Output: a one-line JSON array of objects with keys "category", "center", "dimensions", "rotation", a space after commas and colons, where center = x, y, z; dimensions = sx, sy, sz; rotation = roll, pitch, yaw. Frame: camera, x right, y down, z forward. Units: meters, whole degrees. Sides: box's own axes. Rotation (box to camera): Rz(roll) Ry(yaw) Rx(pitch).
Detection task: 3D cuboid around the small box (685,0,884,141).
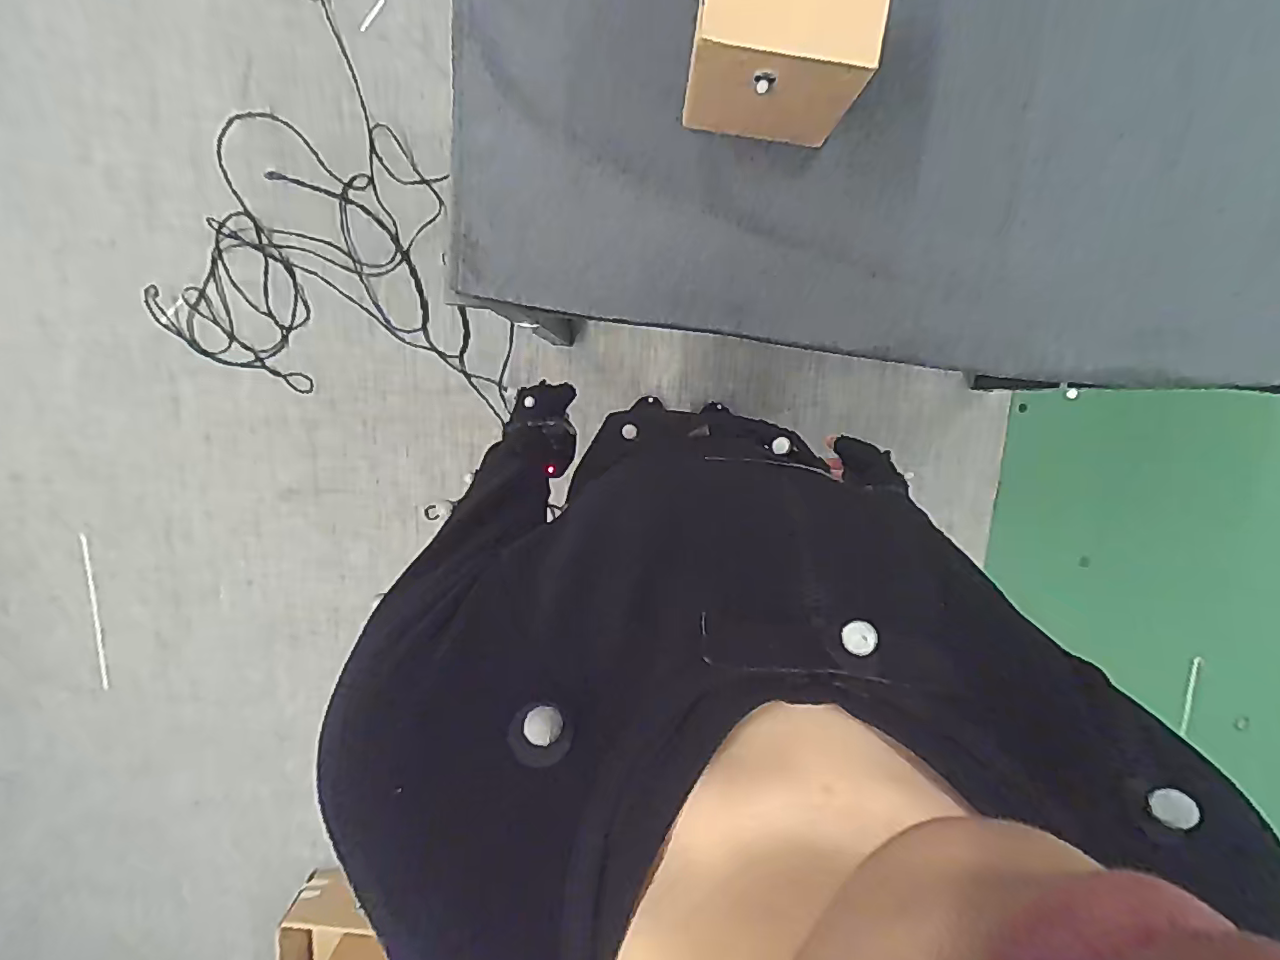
[{"category": "small box", "center": [0.148, -0.500, 0.586], "dimensions": [0.179, 0.176, 0.168], "rotation": [7, 98, -2]}]
